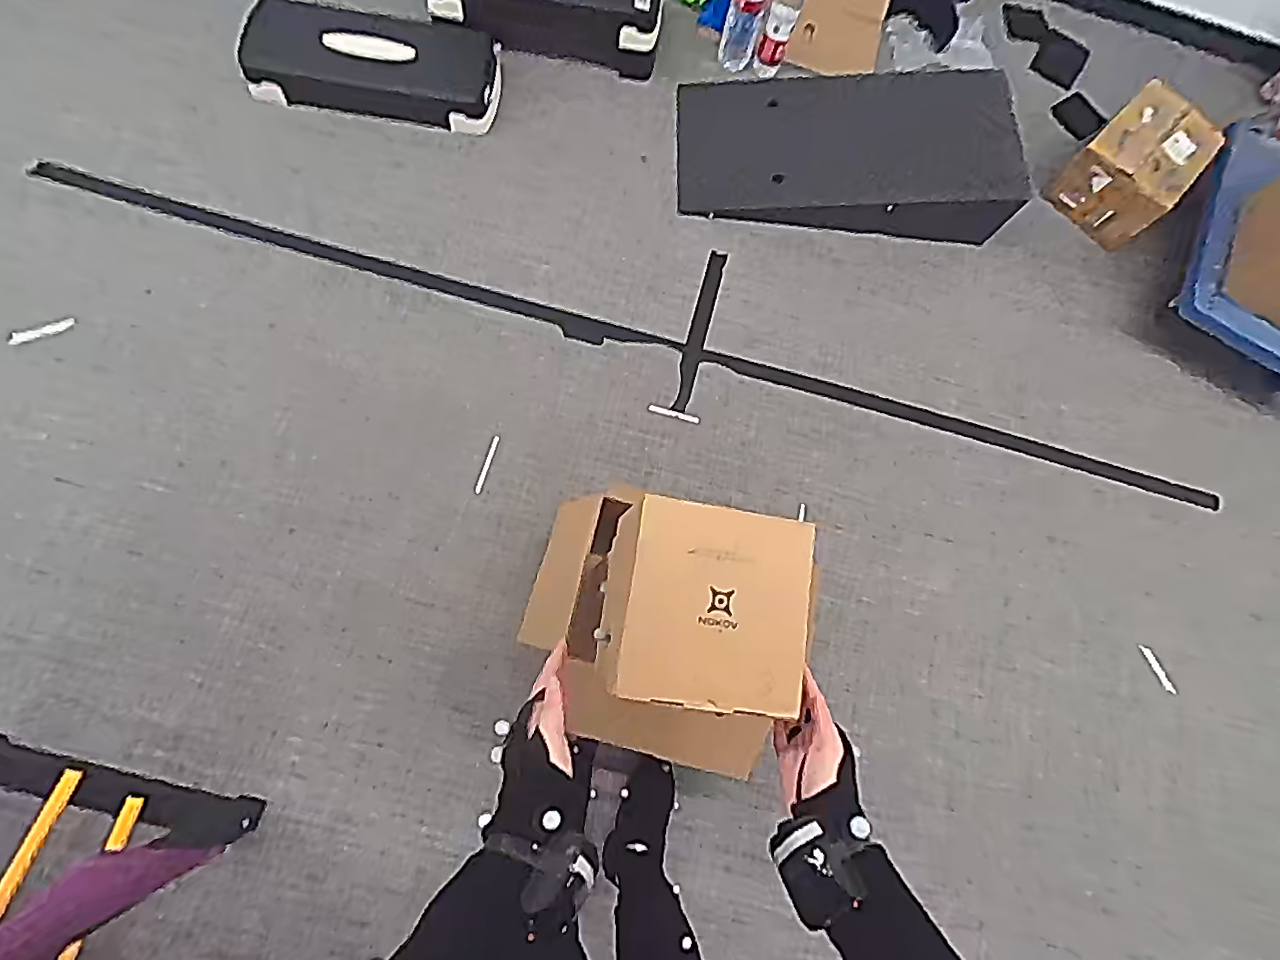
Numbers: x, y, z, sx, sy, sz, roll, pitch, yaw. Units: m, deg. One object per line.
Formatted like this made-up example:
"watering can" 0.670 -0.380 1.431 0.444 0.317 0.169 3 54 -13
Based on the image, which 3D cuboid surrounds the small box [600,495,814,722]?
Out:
"small box" 0.056 0.126 0.550 0.168 0.176 0.179 10 77 -8
